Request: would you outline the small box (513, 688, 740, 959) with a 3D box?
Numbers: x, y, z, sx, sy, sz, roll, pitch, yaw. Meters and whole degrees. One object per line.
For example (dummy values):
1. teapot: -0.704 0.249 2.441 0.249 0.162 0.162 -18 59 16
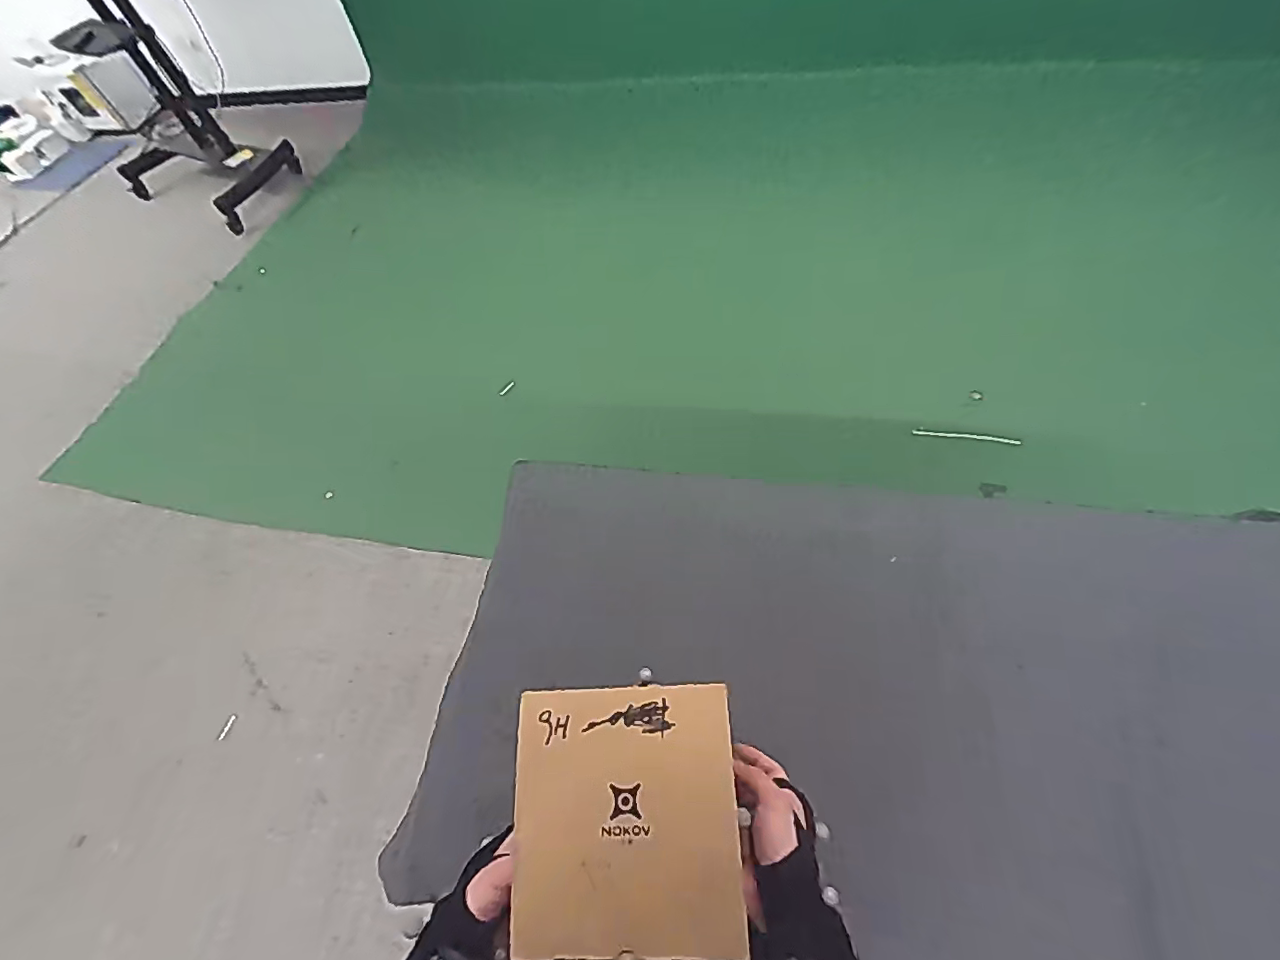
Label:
1. small box: -0.004 0.281 0.480 0.168 0.176 0.179 -3 69 4
